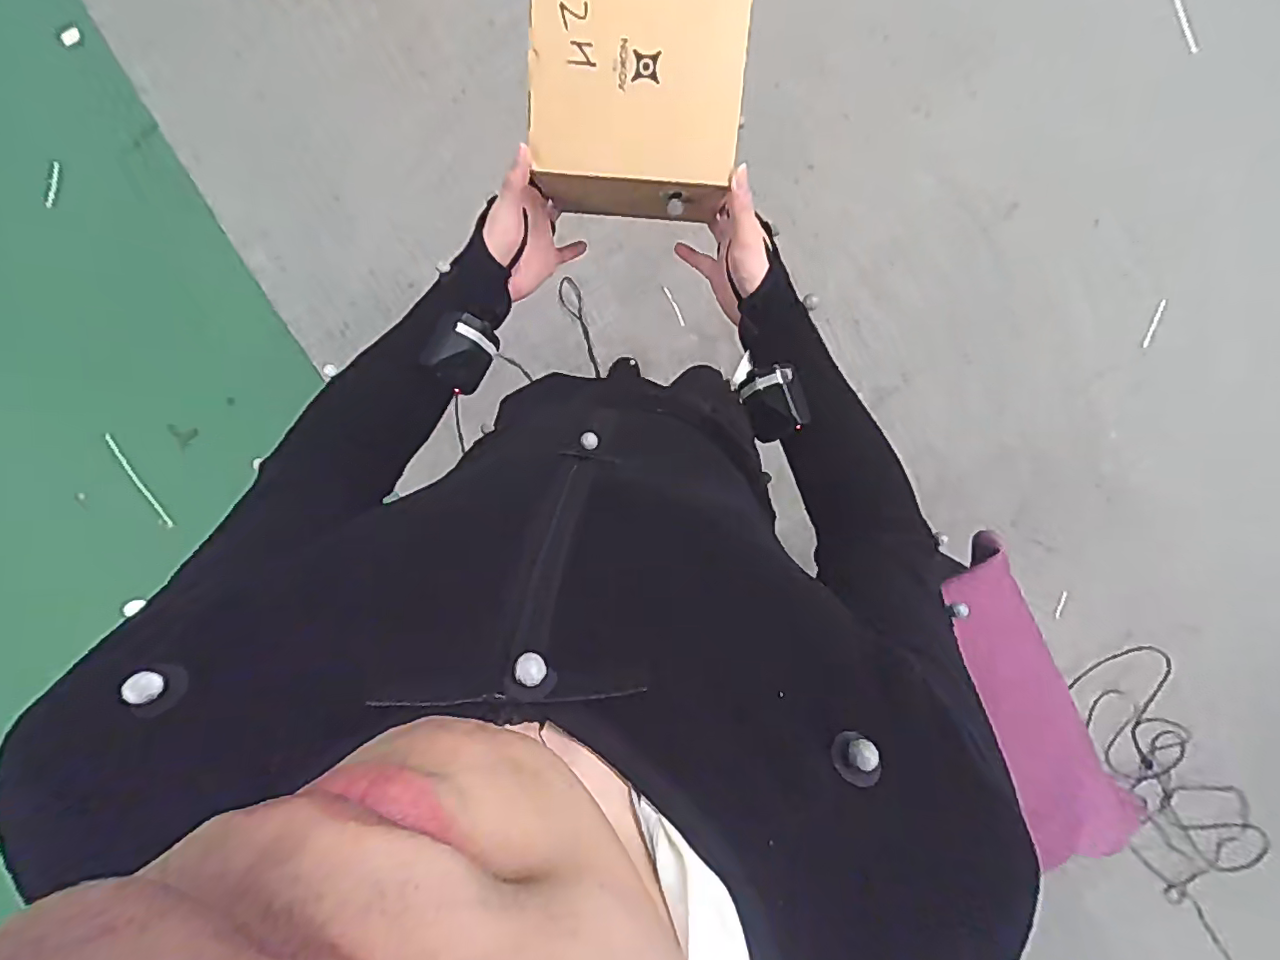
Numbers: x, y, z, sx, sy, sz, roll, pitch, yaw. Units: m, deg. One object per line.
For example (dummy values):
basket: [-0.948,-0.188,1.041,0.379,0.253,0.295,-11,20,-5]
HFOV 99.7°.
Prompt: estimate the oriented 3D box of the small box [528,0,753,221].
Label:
small box: [-0.001,-0.351,0.510,0.179,0.176,0.168,4,105,0]

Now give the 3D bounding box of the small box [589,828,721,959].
small box: [0.024,0.771,0.964,0.179,0.176,0.168,-27,100,4]
